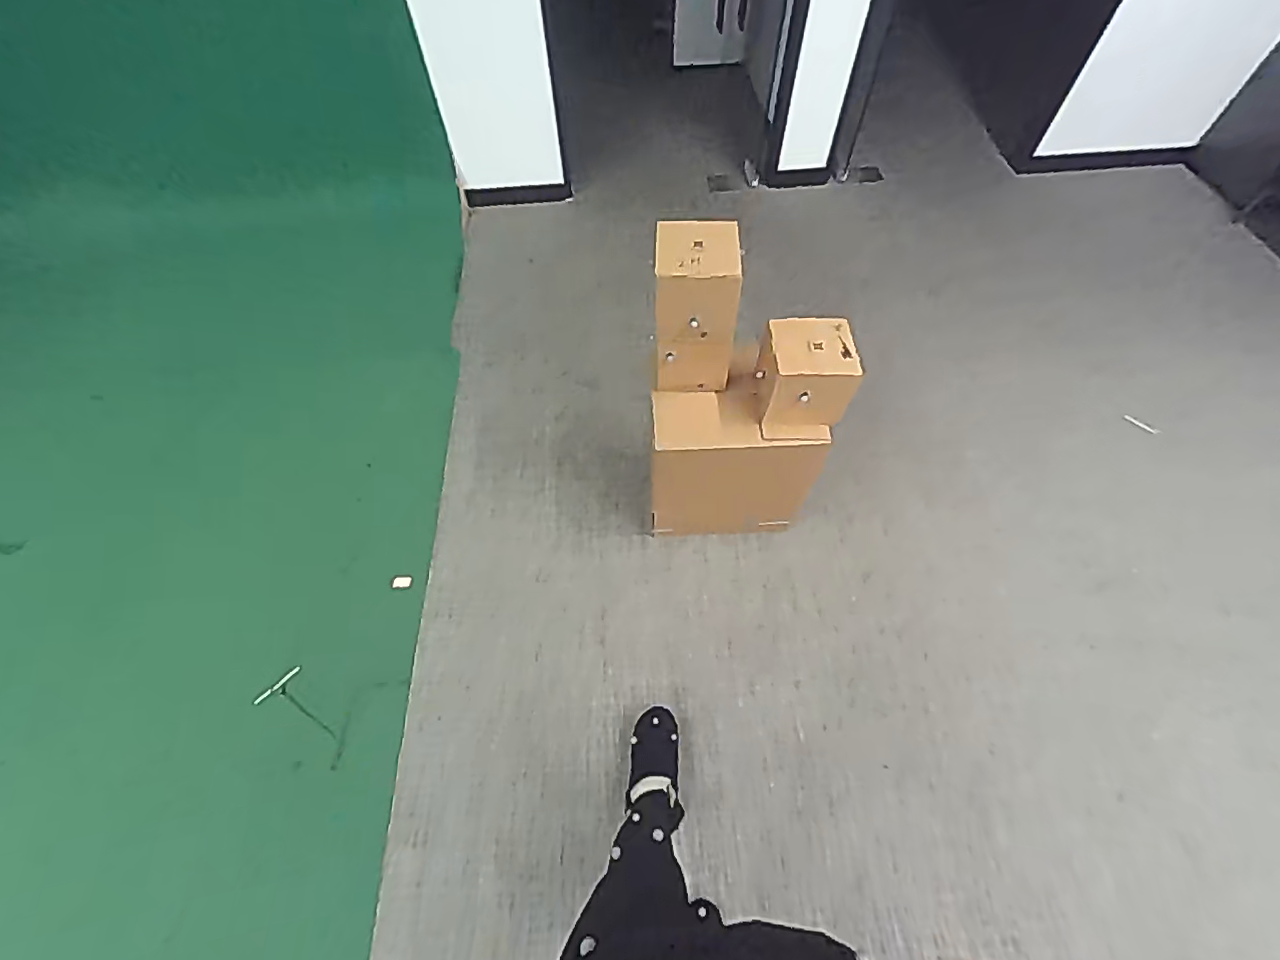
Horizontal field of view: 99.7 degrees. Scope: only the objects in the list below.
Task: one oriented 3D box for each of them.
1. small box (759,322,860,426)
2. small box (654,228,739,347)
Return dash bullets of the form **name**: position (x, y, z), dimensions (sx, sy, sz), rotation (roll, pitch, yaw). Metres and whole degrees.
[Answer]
- **small box**: position (0.367, -0.233, 1.211), dimensions (0.179, 0.176, 0.168), rotation (-1, 61, 1)
- **small box**: position (0.114, -0.403, 1.135), dimensions (0.168, 0.176, 0.179), rotation (1, 58, 4)
